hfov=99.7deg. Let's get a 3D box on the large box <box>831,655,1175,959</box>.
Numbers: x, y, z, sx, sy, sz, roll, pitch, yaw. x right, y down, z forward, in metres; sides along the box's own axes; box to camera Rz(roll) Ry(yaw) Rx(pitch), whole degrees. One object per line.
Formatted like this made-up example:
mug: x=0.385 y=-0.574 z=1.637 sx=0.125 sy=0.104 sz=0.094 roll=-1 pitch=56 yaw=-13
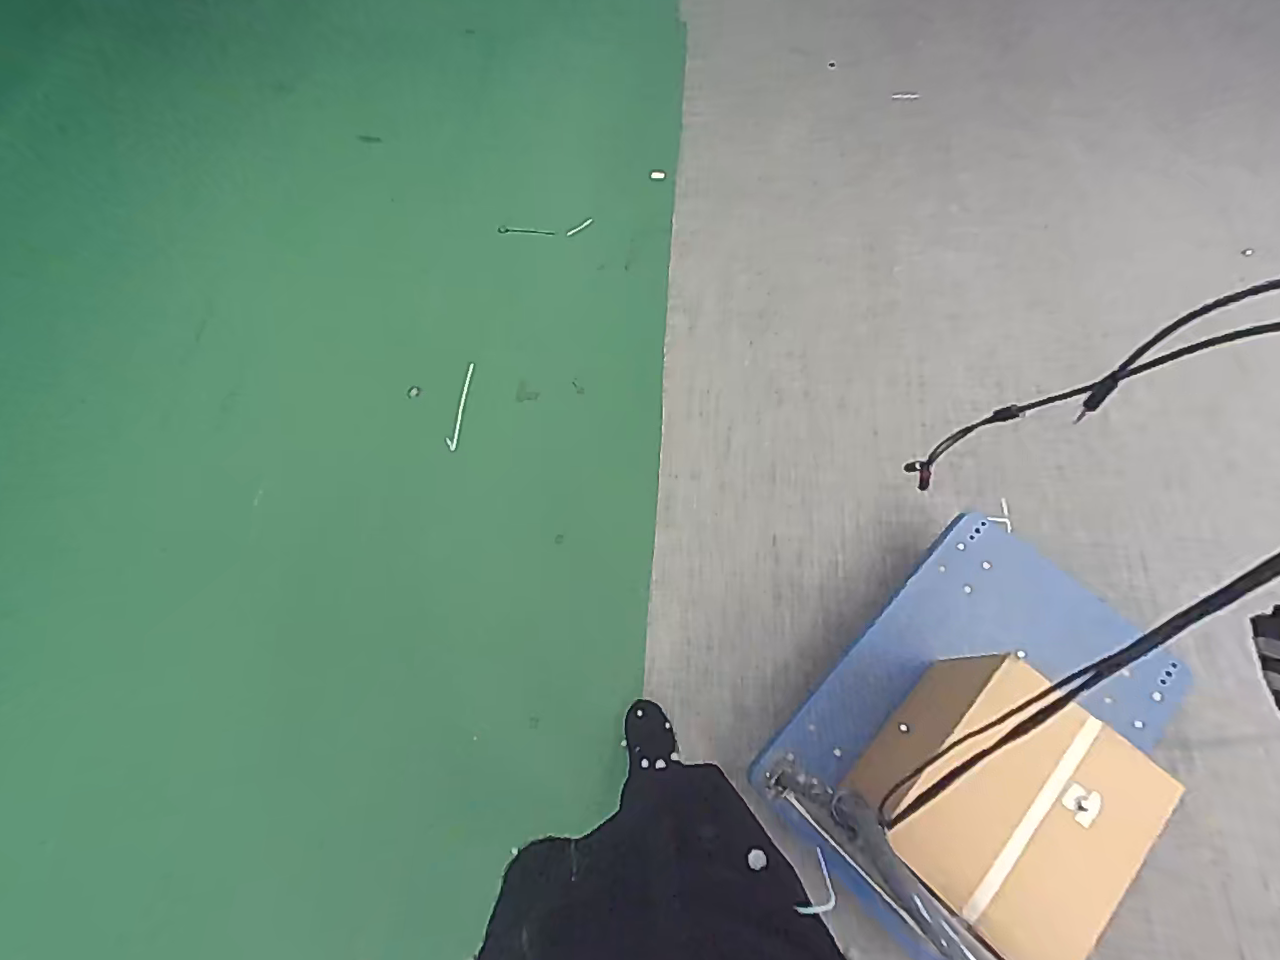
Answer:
large box: x=0.634 y=0.597 z=1.013 sx=0.320 sy=0.320 sz=0.408 roll=42 pitch=77 yaw=17
